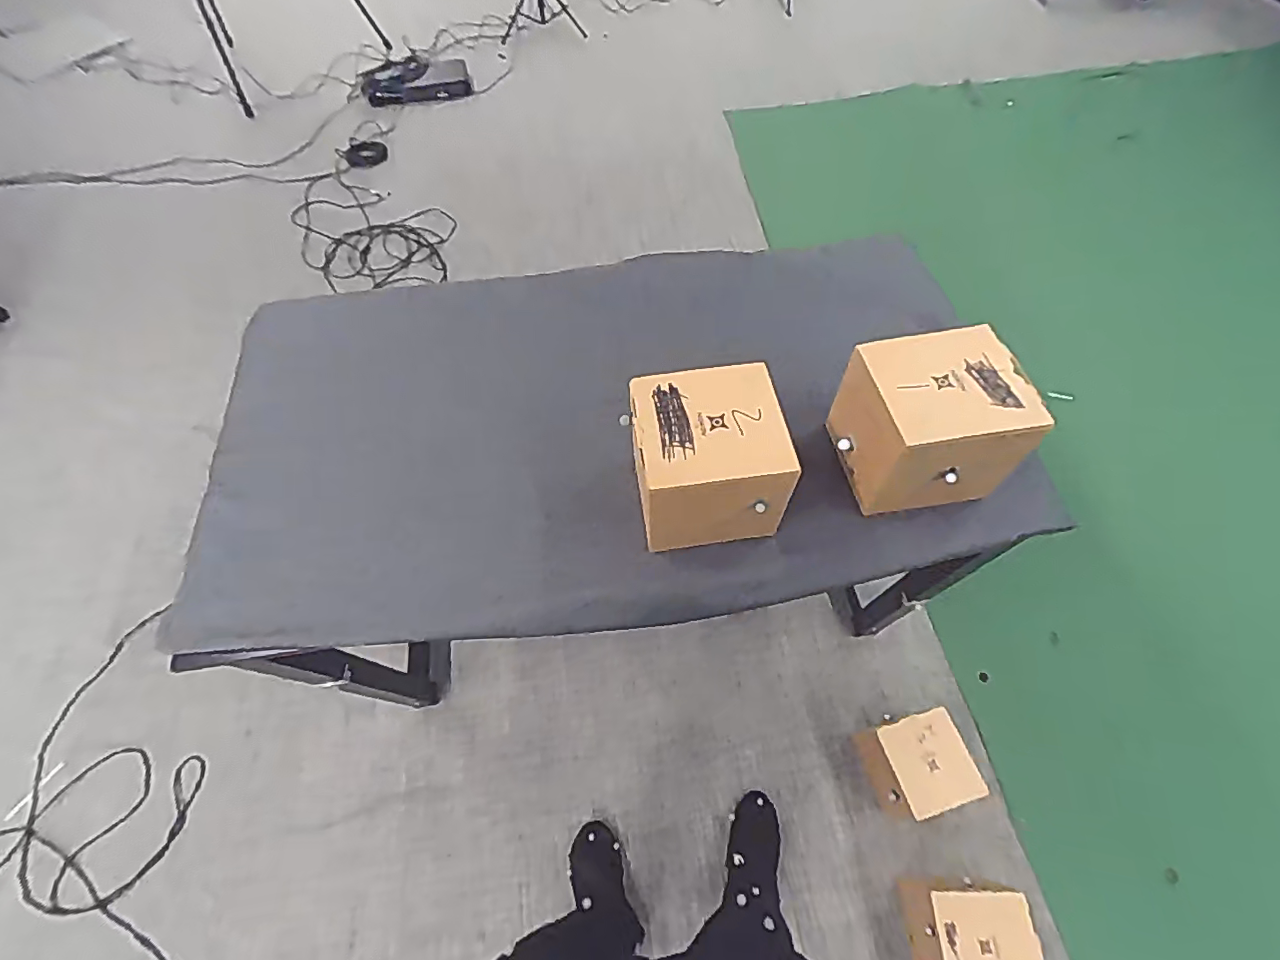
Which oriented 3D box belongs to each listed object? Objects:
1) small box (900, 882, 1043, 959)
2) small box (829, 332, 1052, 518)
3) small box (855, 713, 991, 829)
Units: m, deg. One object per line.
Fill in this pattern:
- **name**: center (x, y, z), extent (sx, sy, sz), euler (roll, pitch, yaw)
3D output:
- **small box**: center (0.628, 0.881, 1.026), extent (0.179, 0.176, 0.168), euler (-1, 63, 2)
- **small box**: center (0.373, -0.066, 0.713), extent (0.179, 0.176, 0.168), euler (-8, 58, -1)
- **small box**: center (0.597, 0.622, 1.166), extent (0.168, 0.176, 0.179), euler (-15, 62, -6)
